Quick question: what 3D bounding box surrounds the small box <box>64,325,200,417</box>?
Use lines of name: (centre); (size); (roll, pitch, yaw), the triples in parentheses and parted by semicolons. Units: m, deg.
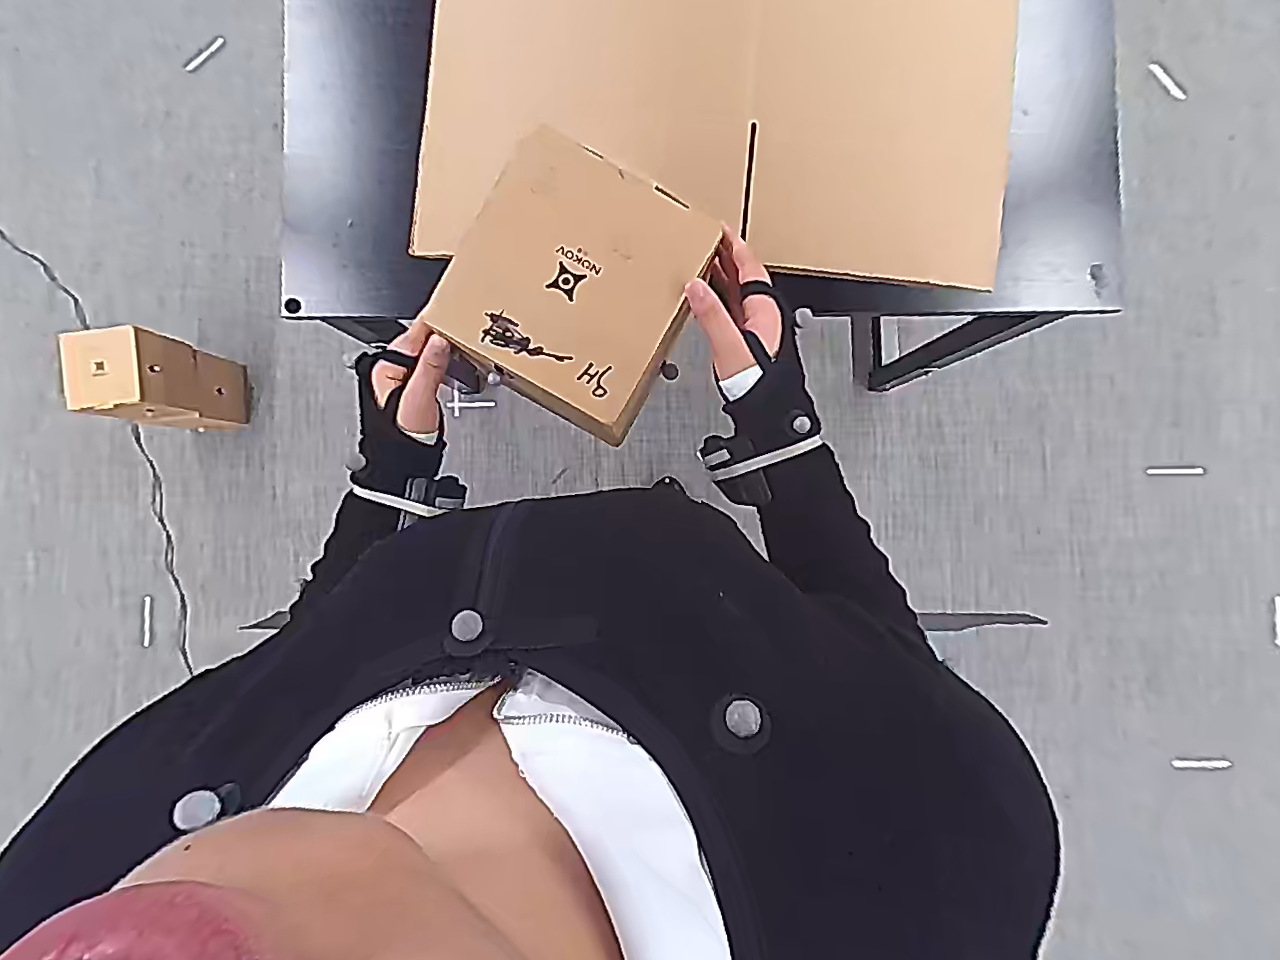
small box: (-1.184, -0.247, 1.273); (0.168, 0.176, 0.179); (-7, 87, -1)

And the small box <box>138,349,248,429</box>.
small box: (-1.181, -0.237, 1.436); (0.168, 0.176, 0.179); (-4, 89, 0)

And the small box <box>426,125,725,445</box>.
small box: (-0.049, -0.151, 0.481); (0.168, 0.176, 0.179); (30, 87, 2)
